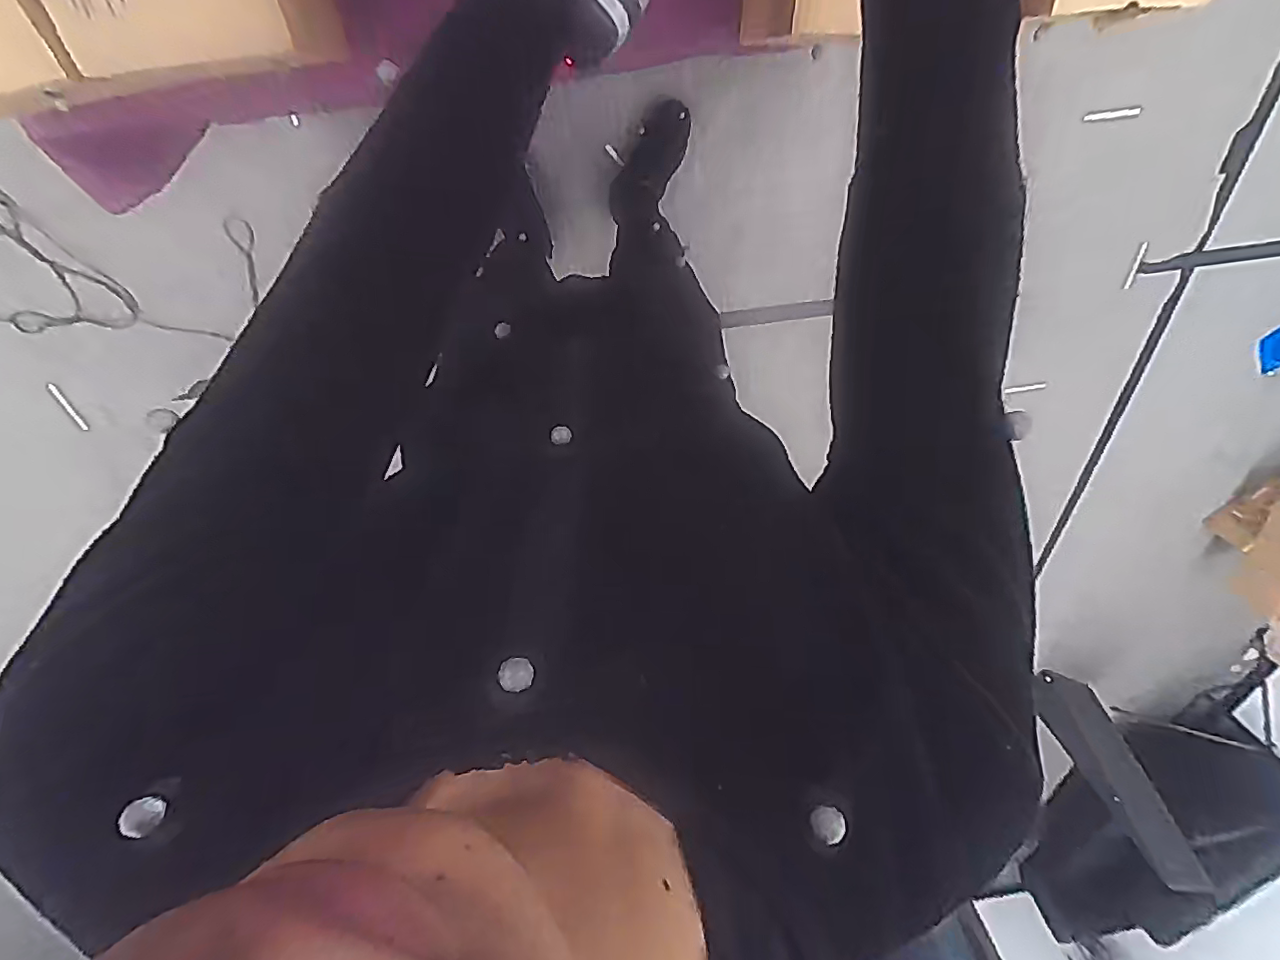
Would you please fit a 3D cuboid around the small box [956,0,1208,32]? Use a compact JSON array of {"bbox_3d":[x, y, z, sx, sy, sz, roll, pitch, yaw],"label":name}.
[{"bbox_3d":[0.446,-0.560,0.524,0.168,0.176,0.179,-6,126,-3],"label":"small box"}]
